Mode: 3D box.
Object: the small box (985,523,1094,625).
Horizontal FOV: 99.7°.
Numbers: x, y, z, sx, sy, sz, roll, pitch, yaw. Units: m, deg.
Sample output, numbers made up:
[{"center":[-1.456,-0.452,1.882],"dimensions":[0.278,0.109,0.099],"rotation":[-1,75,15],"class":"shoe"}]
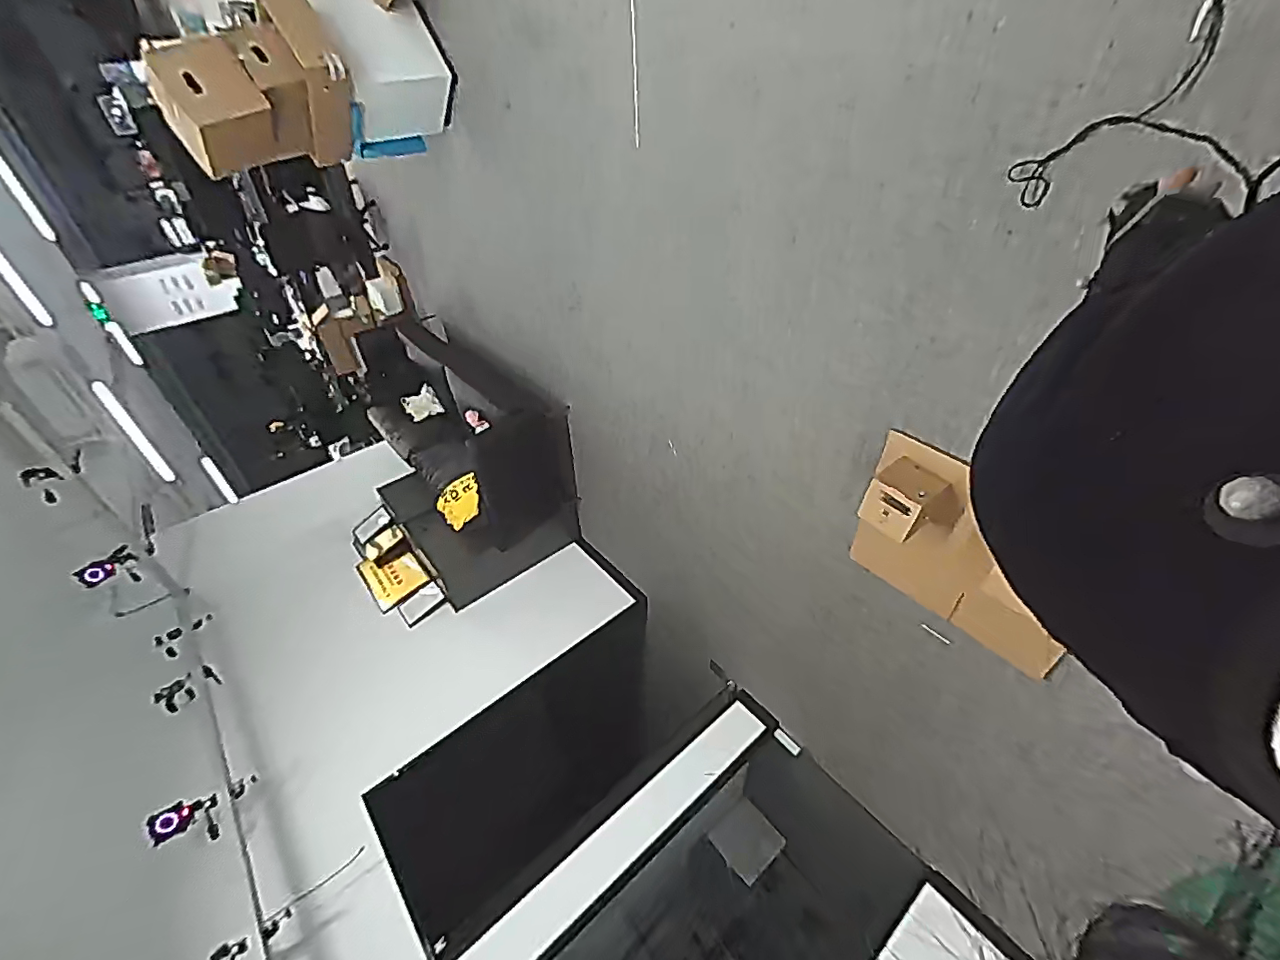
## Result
[{"center":[1.085,0.247,1.465],"dimensions":[0.168,0.176,0.179],"rotation":[36,144,38],"class":"small box"}]
